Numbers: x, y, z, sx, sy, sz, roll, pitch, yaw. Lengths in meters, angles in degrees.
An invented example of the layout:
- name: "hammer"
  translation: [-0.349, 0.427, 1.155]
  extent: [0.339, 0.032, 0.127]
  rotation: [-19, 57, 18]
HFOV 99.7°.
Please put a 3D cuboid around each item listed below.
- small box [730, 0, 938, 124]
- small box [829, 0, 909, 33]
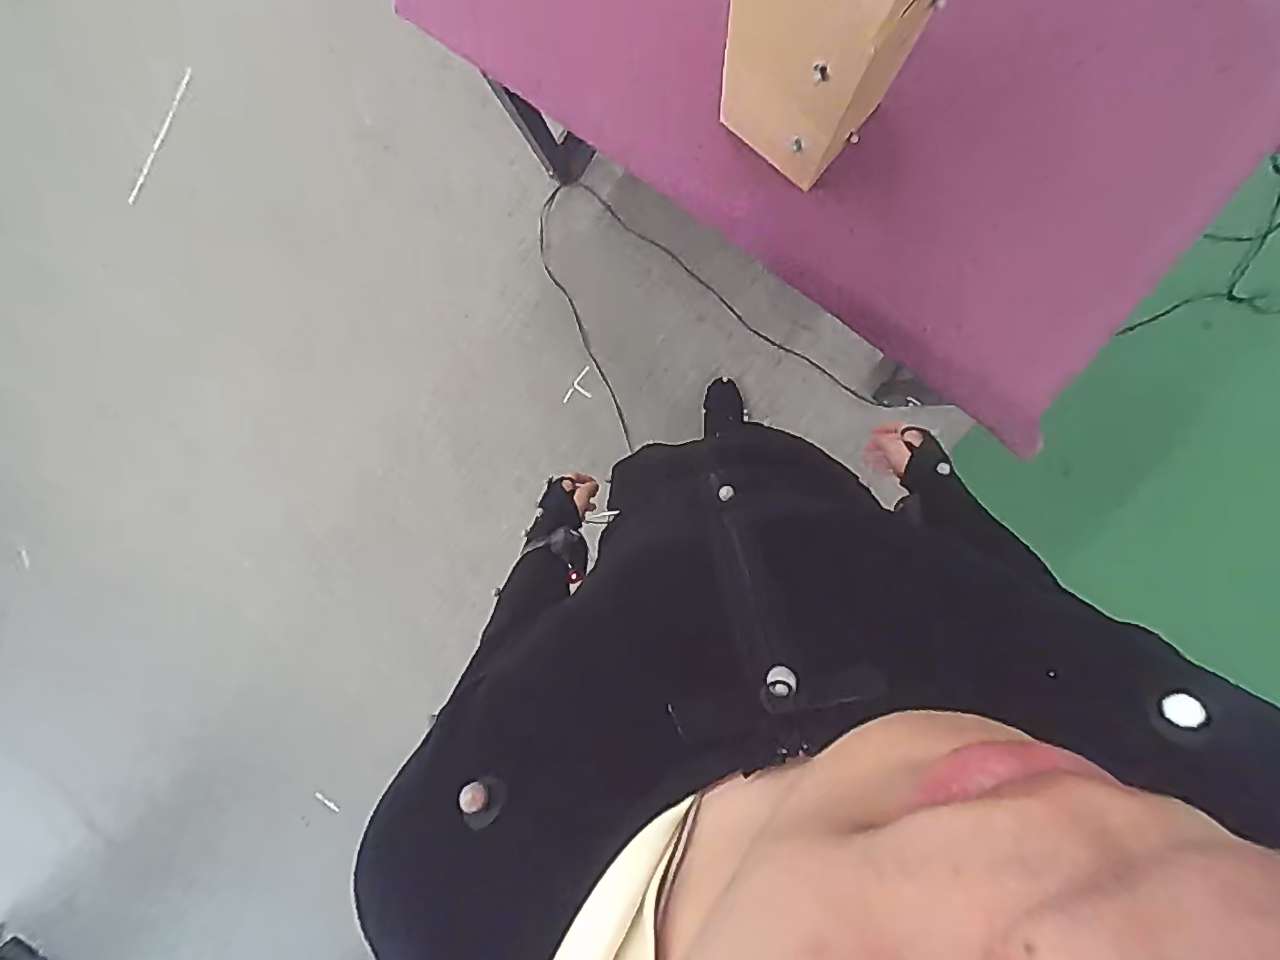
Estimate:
- name: "small box"
  translation: [0.214, -0.525, 0.574]
  extent: [0.179, 0.176, 0.168]
  rotation: [40, 99, 1]
- name: "small box"
  translation: [0.201, -0.512, 0.412]
  extent: [0.168, 0.176, 0.179]
  rotation: [40, 99, 0]
